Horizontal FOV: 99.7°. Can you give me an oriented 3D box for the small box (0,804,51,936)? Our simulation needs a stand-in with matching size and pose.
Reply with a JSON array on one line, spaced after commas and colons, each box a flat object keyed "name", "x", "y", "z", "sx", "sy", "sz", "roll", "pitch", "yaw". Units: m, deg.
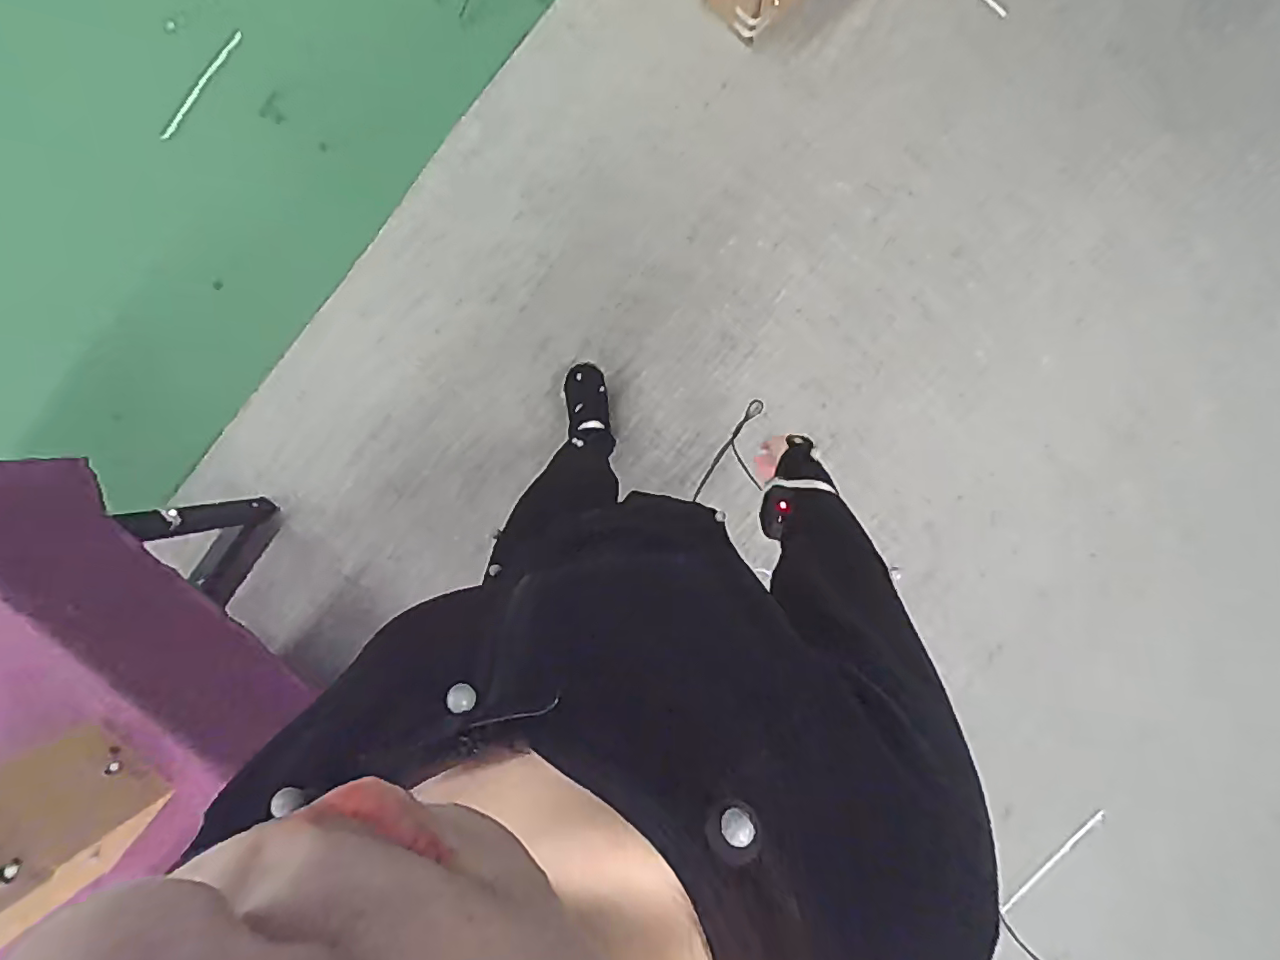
[{"name": "small box", "x": -0.841, "y": 0.489, "z": 0.606, "sx": 0.168, "sy": 0.176, "sz": 0.179, "roll": 43, "pitch": 96, "yaw": 1}]
